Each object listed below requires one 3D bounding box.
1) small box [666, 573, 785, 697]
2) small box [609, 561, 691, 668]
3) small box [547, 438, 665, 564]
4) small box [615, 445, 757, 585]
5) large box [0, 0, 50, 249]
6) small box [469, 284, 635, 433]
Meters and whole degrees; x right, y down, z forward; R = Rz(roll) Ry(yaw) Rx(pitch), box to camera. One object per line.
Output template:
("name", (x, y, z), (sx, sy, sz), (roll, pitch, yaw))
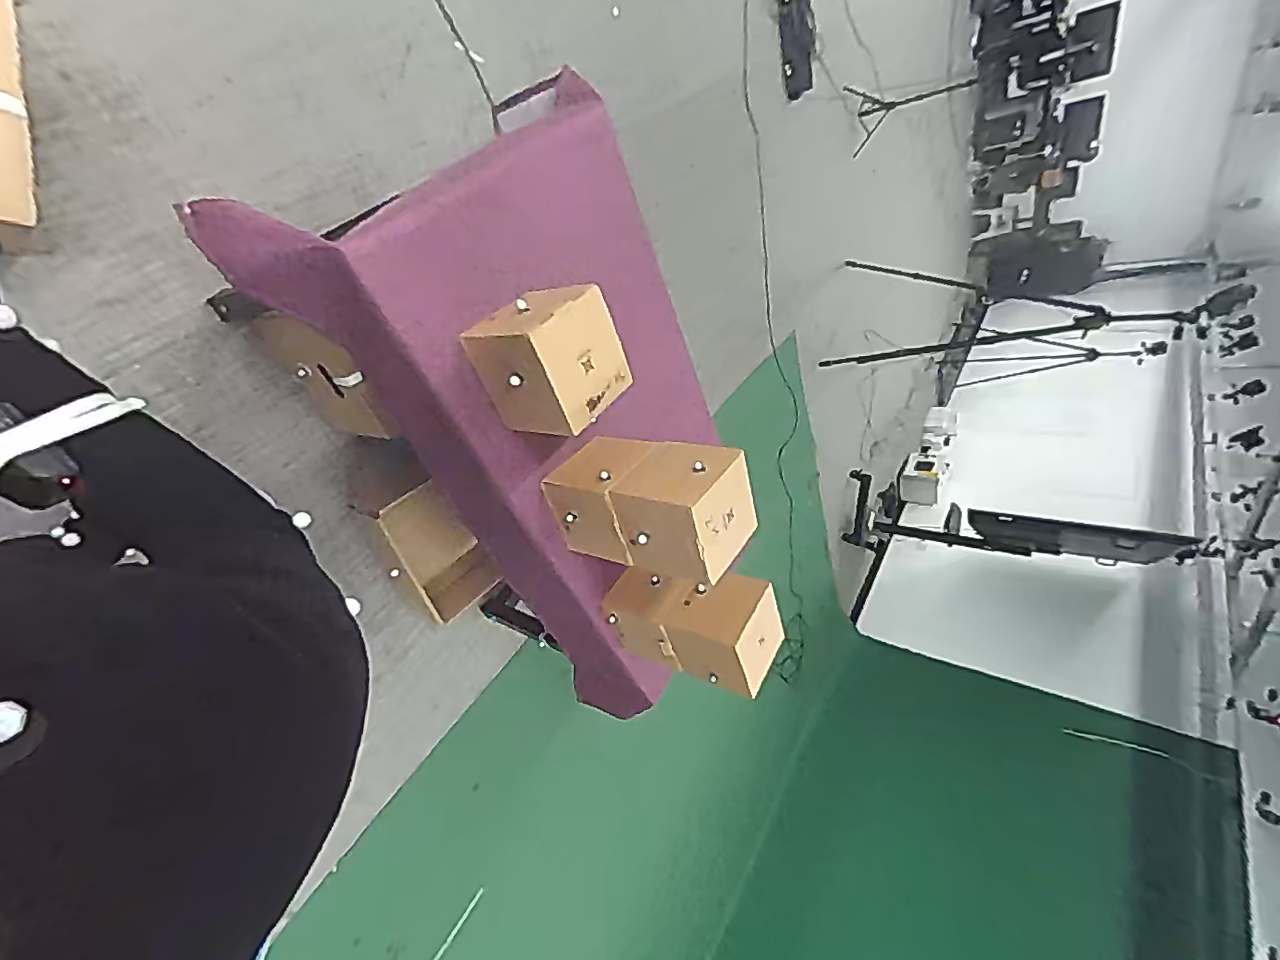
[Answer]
("small box", (0.179, 0.307, 1.124), (0.168, 0.176, 0.179), (-48, 131, -35))
("small box", (0.050, 0.284, 1.222), (0.179, 0.176, 0.168), (-49, 132, -34))
("small box", (-0.047, 0.031, 1.049), (0.179, 0.176, 0.168), (-43, 129, -36))
("small box", (0.084, 0.050, 0.951), (0.179, 0.176, 0.168), (-42, 128, -37))
("large box", (-1.089, -0.522, 0.696), (0.408, 0.320, 0.320), (-7, 104, -51))
("small box", (-0.142, -0.194, 0.878), (0.168, 0.176, 0.179), (-48, 131, -33))
